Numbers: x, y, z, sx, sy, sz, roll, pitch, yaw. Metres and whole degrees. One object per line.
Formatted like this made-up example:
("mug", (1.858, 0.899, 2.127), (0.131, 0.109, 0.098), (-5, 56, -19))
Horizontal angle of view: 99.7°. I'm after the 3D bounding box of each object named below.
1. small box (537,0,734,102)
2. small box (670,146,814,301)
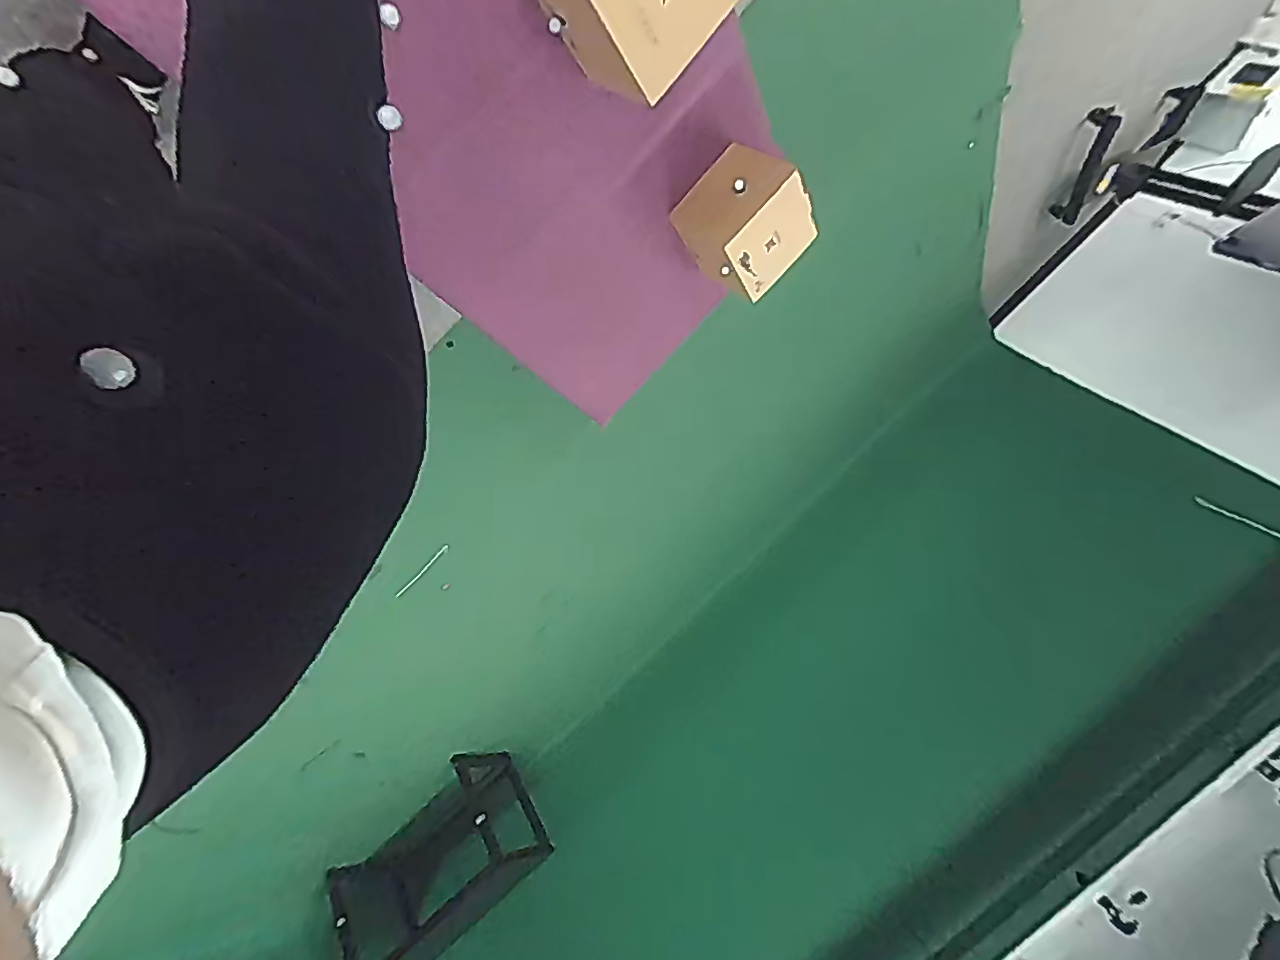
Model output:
("small box", (-0.015, -0.620, 0.661), (0.179, 0.176, 0.168), (-47, 145, 8))
("small box", (0.189, -0.482, 1.013), (0.179, 0.176, 0.168), (-47, 145, 7))
